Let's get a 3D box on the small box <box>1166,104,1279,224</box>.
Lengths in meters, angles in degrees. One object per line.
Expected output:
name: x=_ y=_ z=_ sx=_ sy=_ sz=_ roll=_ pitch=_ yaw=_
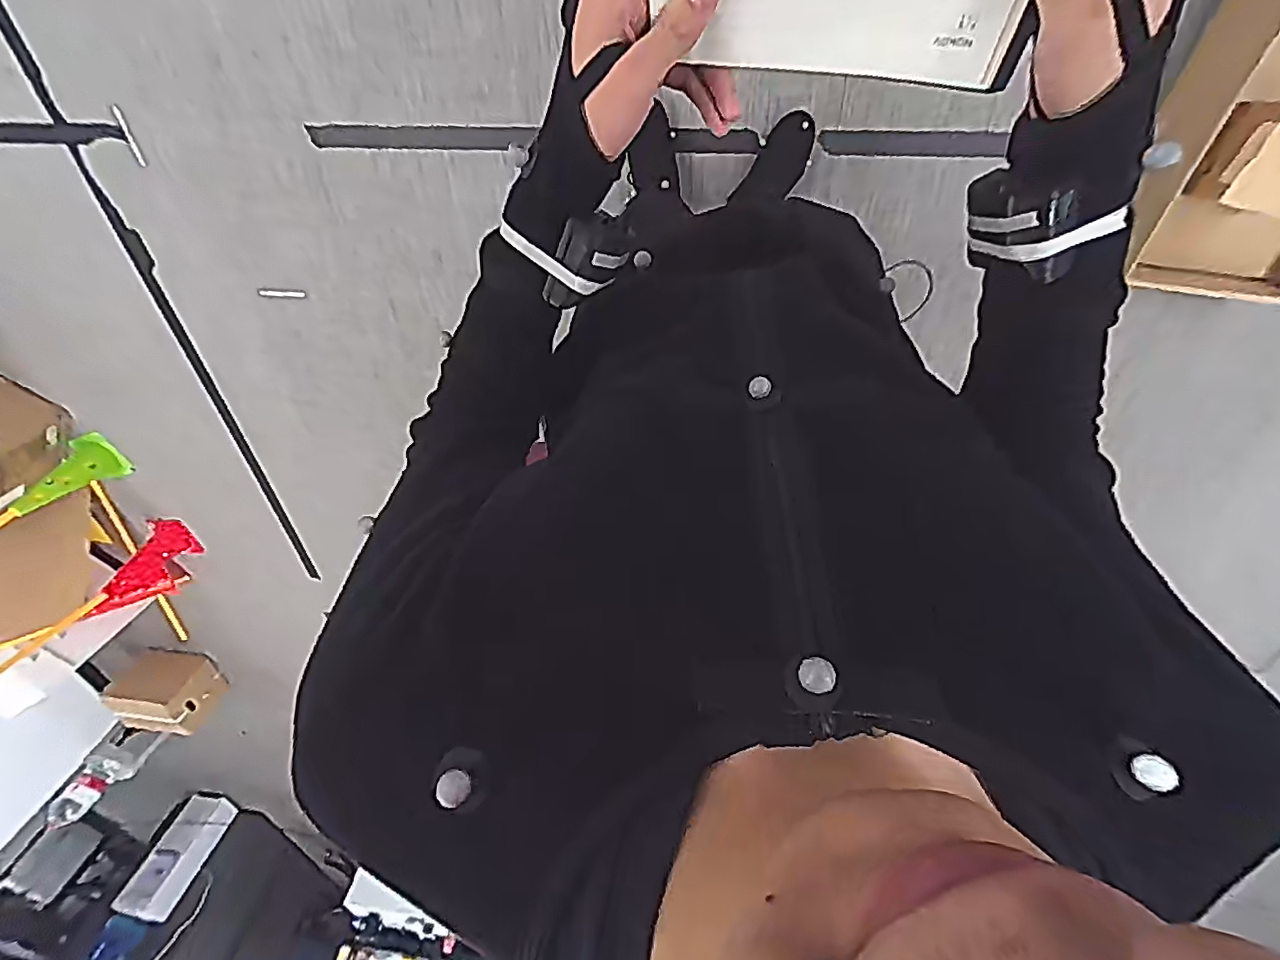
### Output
small box: x=1.225 y=-0.625 z=1.070 sx=0.179 sy=0.176 sz=0.168 roll=15 pitch=127 yaw=-2
